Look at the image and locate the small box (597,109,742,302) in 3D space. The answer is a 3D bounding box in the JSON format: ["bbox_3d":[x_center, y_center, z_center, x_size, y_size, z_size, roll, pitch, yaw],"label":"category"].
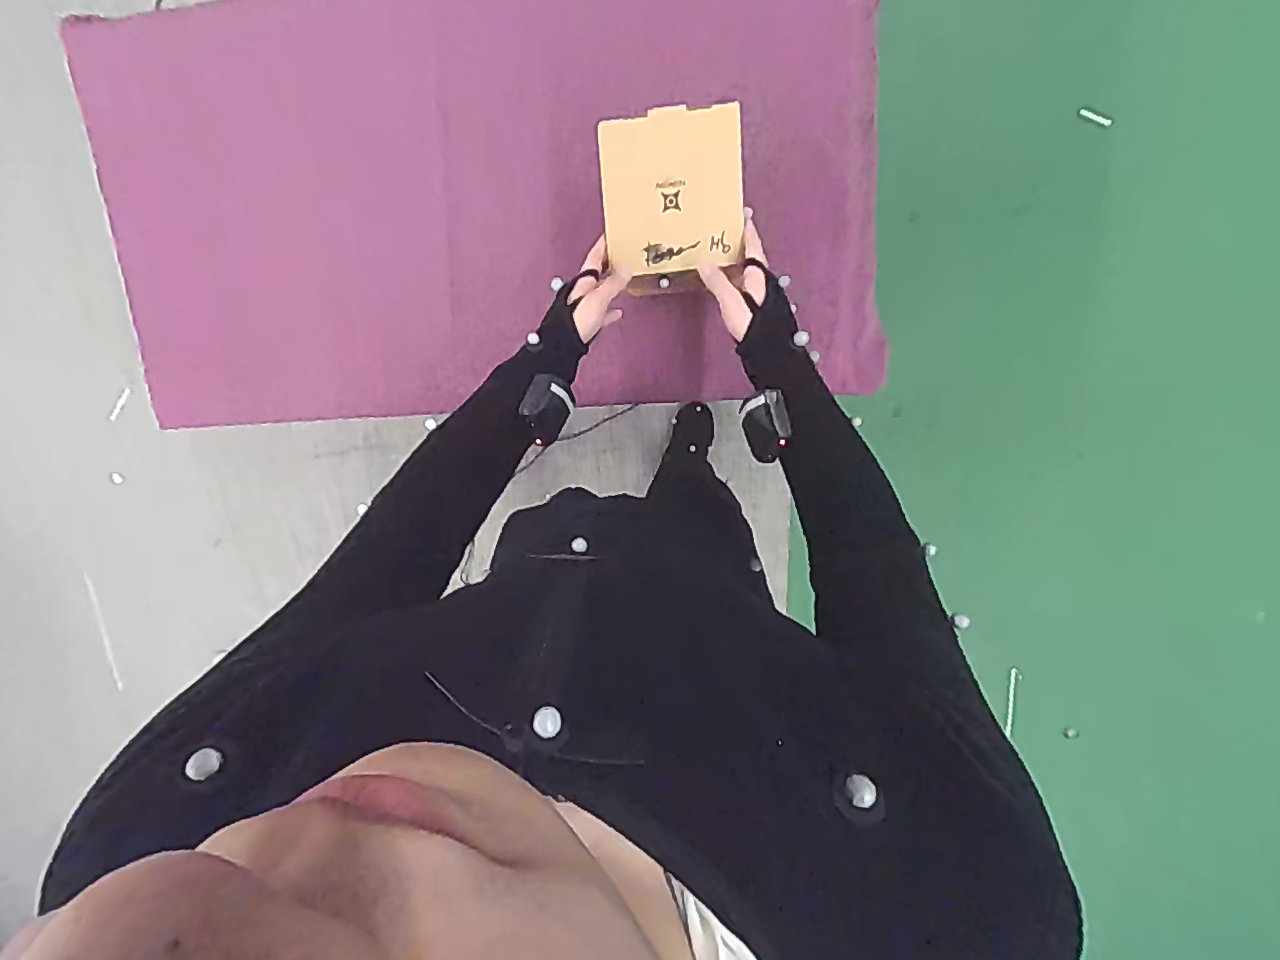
[{"bbox_3d":[0.045,-0.341,0.708,0.168,0.176,0.179,-2,100,10],"label":"small box"}]
